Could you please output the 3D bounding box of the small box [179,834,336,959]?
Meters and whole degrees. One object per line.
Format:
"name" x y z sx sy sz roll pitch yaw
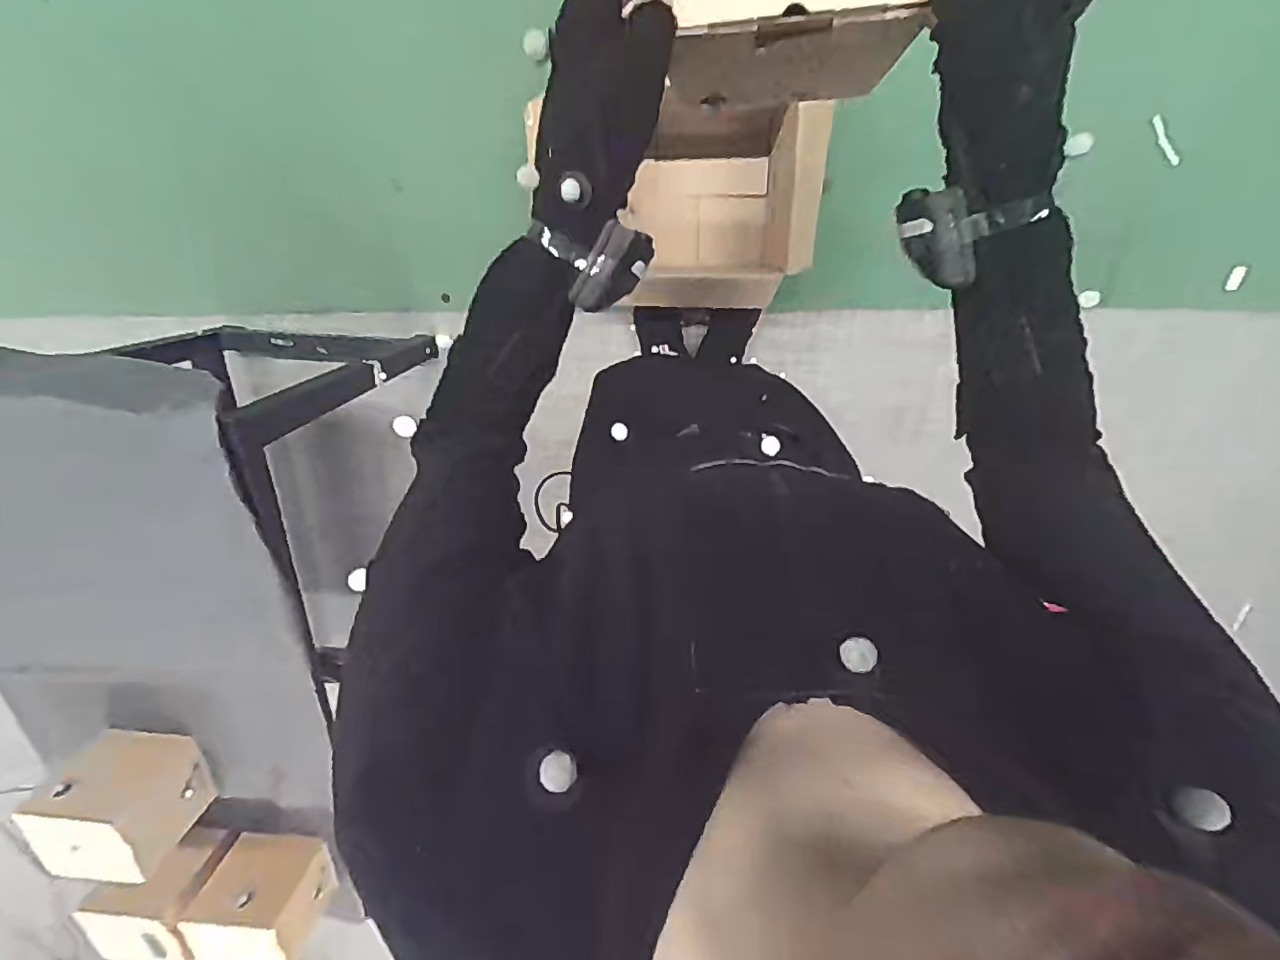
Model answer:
"small box" -0.745 0.840 1.074 0.179 0.176 0.168 4 114 1

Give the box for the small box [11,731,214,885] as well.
"small box" -0.927 0.579 0.970 0.179 0.176 0.168 4 115 1

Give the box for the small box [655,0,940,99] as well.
"small box" 0.099 -0.377 0.358 0.168 0.176 0.179 1 110 7
